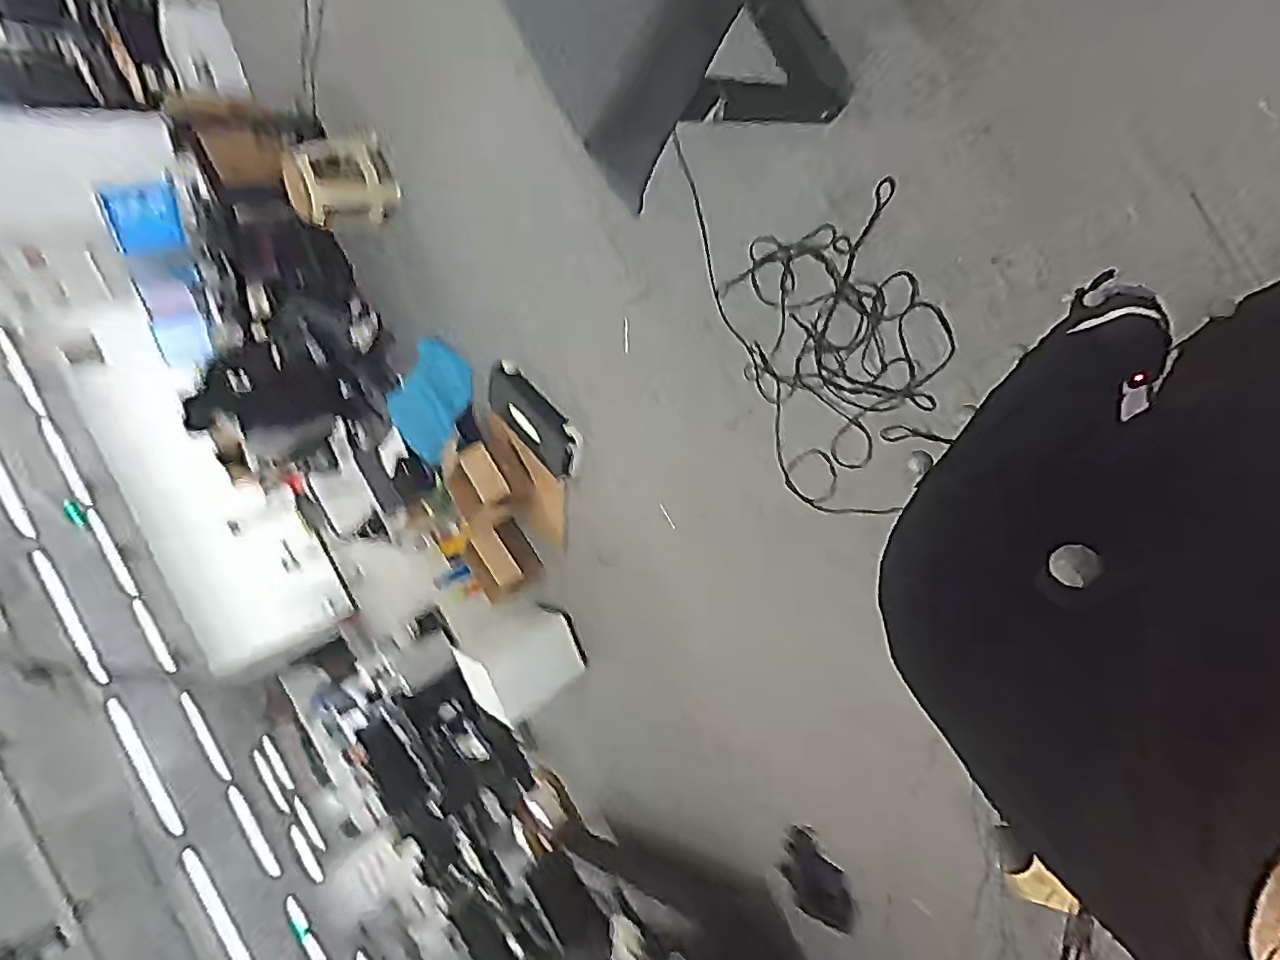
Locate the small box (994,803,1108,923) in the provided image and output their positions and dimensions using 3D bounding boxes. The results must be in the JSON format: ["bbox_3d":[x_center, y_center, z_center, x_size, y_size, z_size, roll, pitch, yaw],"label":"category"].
[{"bbox_3d":[1.099,1.011,1.443,0.179,0.176,0.168,61,145,4],"label":"small box"}]
